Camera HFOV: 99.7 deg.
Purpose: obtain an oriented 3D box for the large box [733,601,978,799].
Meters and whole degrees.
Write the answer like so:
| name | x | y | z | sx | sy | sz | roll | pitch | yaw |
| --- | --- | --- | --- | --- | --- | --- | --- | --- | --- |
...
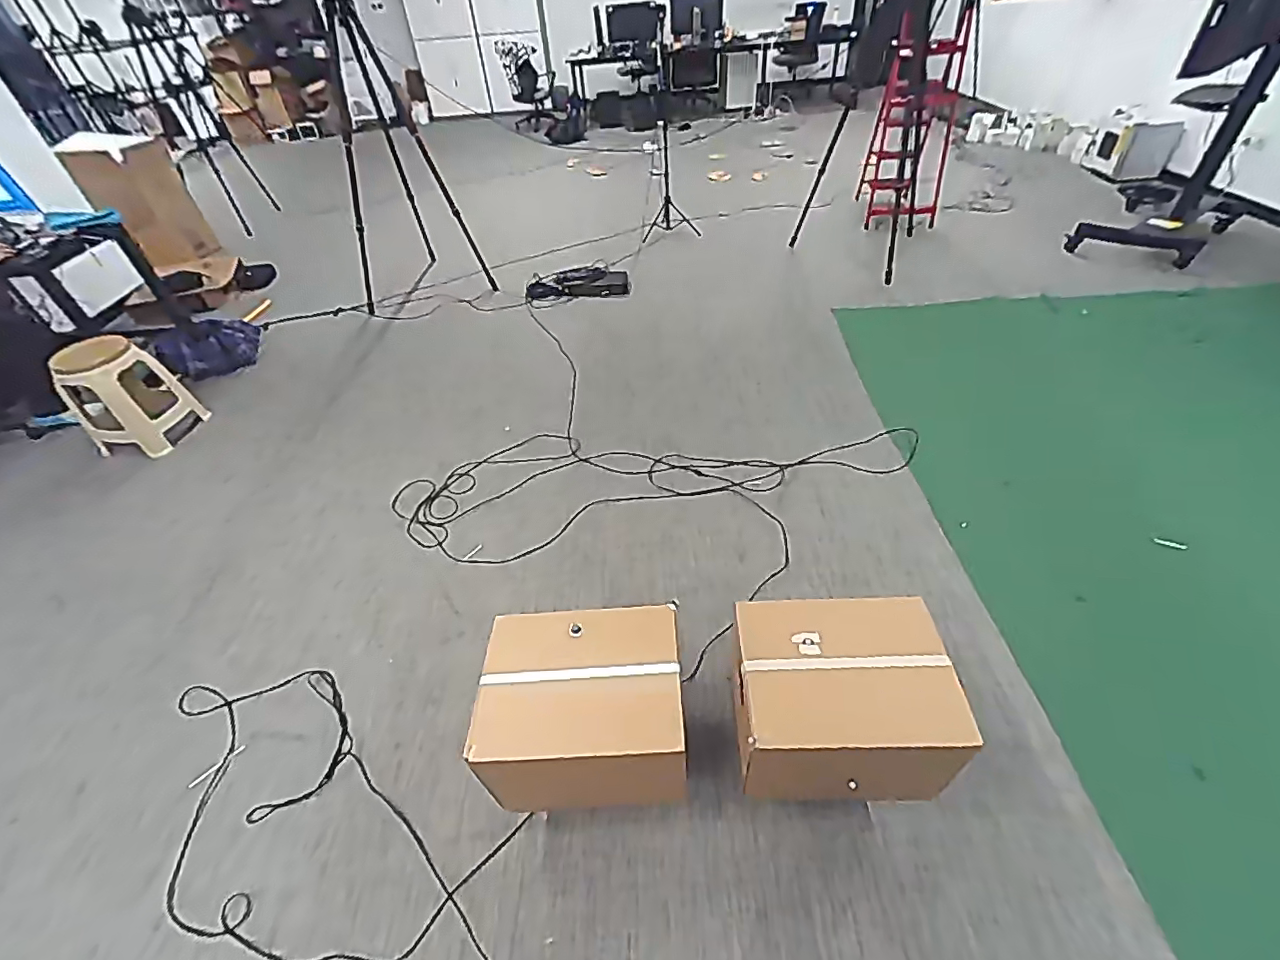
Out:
| name | x | y | z | sx | sy | sz | roll | pitch | yaw |
| --- | --- | --- | --- | --- | --- | --- | --- | --- | --- |
| large box | 0.425 | 0.487 | 1.186 | 0.408 | 0.320 | 0.320 | -3 | 43 | 4 |
